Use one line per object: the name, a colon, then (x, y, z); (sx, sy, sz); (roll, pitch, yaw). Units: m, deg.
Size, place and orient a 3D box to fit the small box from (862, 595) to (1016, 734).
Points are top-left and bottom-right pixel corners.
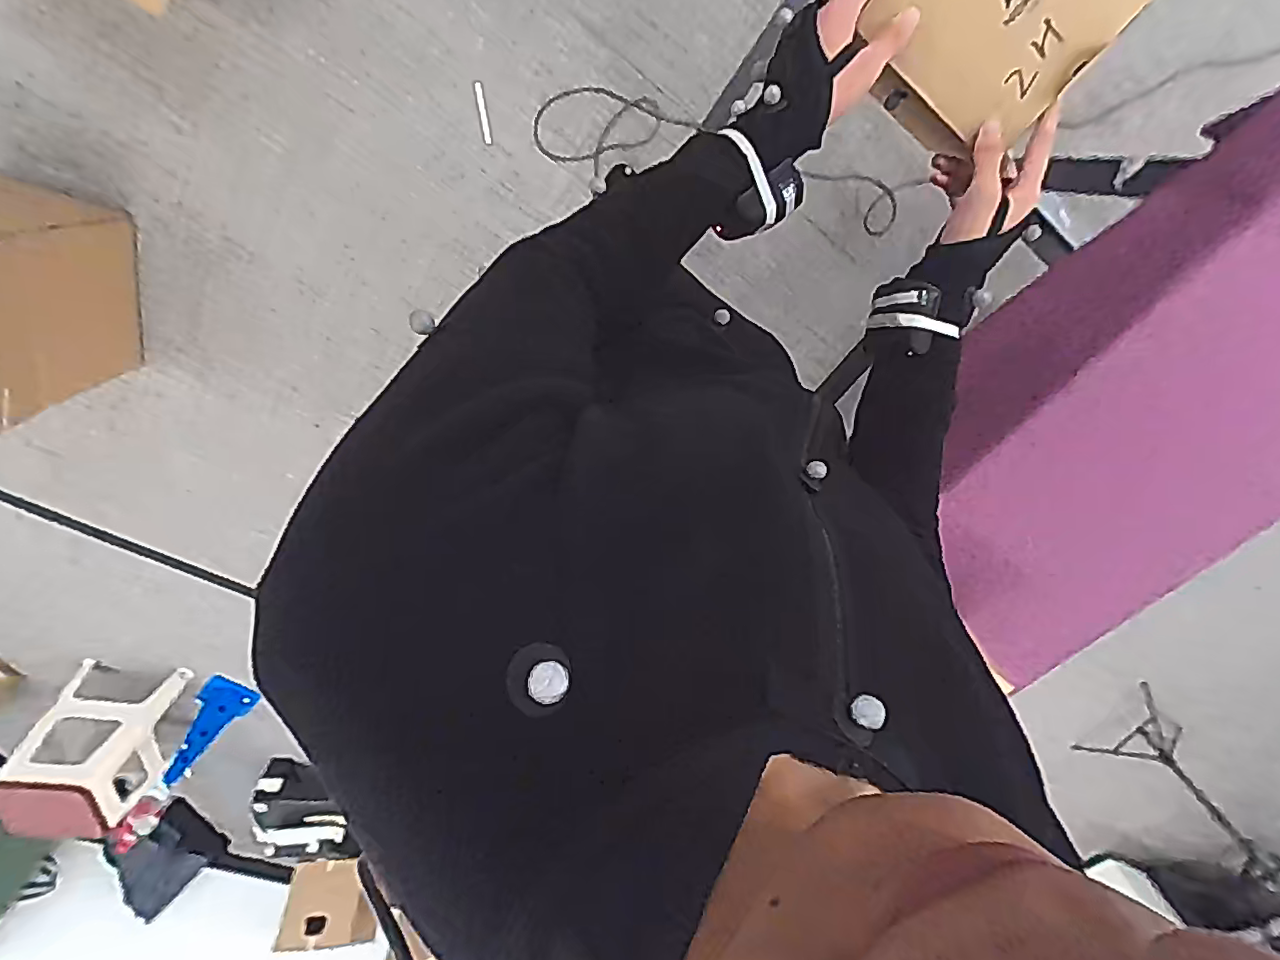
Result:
small box: (0.574, 0.355, 1.064); (0.179, 0.176, 0.168); (36, 113, -22)
